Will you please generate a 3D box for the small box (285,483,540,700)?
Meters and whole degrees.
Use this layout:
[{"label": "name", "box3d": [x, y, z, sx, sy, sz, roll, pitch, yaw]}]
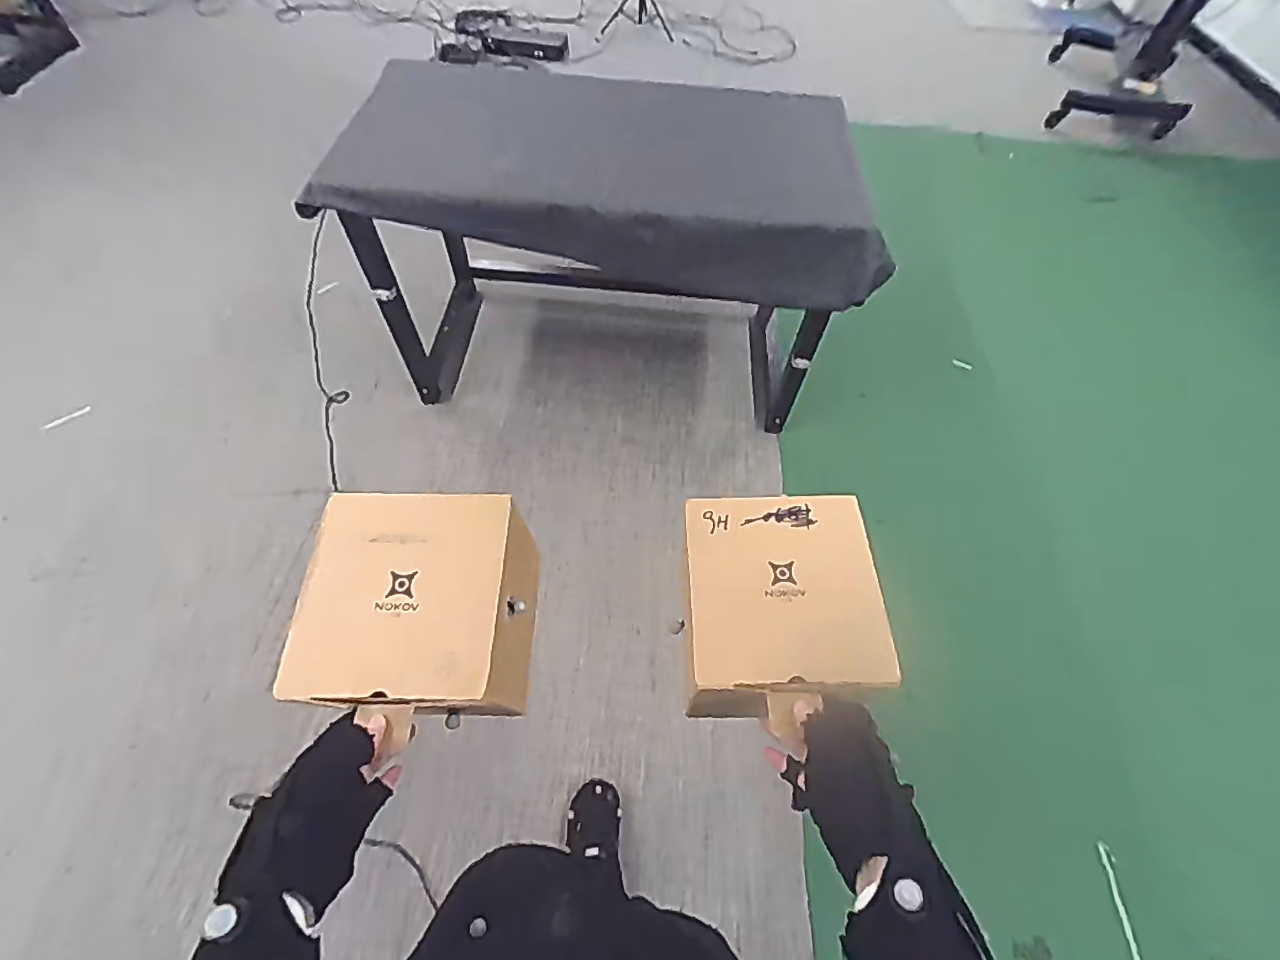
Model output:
[{"label": "small box", "box3d": [-0.196, 0.117, 0.529, 0.168, 0.176, 0.179, 1, 63, -1]}]
